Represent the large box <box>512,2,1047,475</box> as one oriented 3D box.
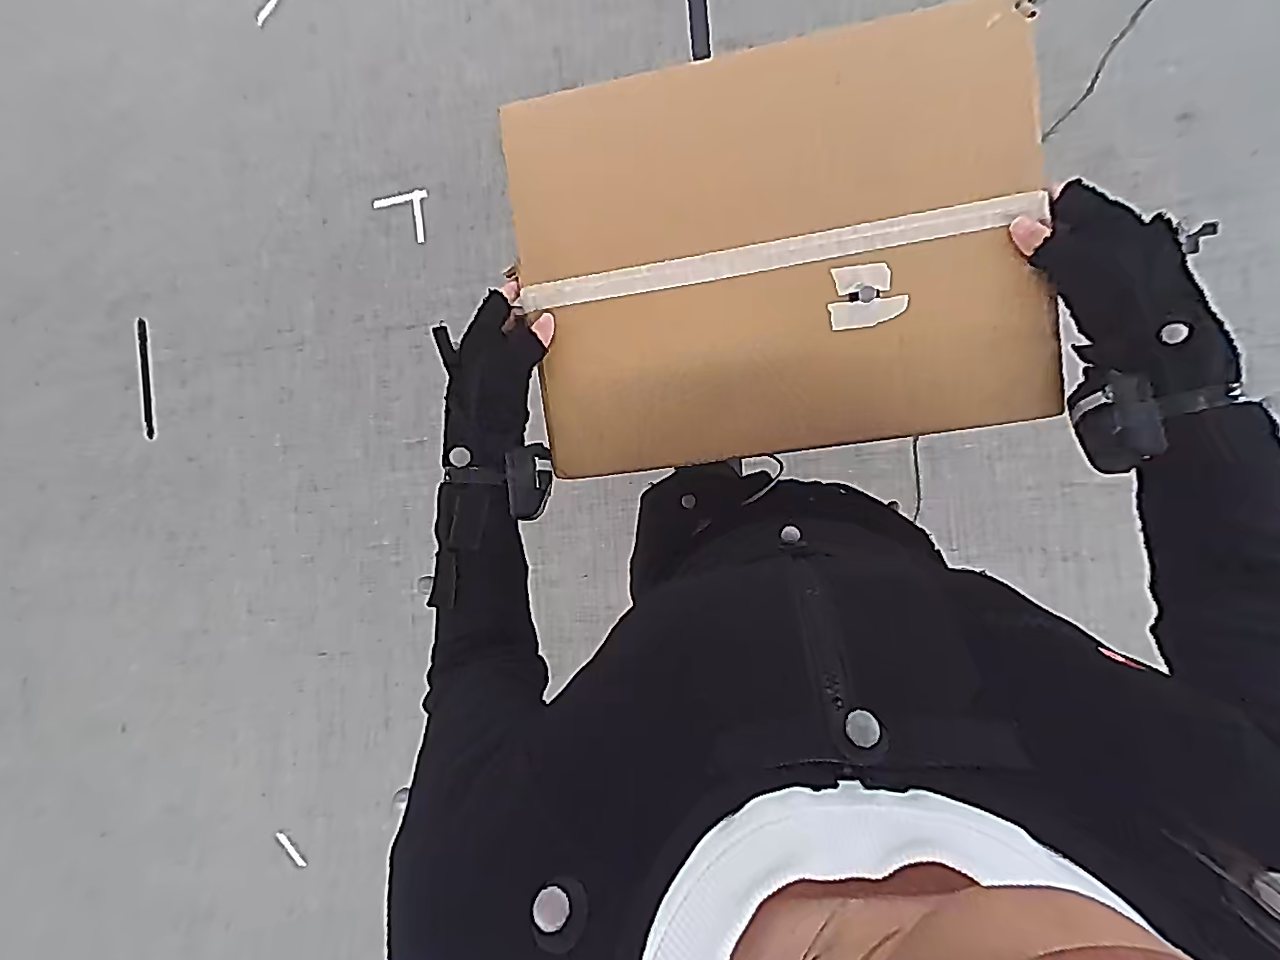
[{"bbox_3d":[0.122,-0.195,0.591,0.408,0.320,0.320,-8,94,7],"label":"large box"}]
